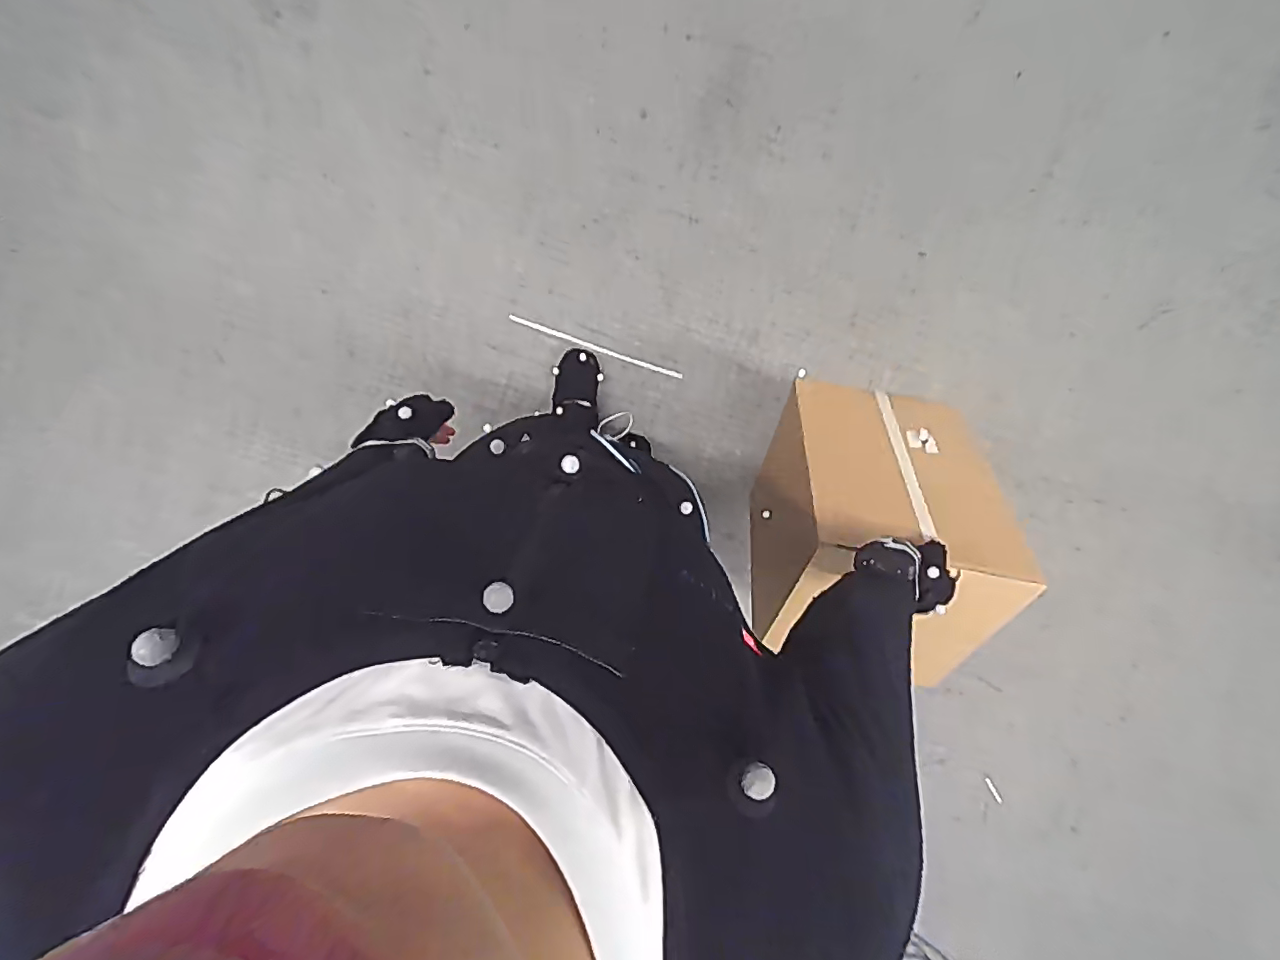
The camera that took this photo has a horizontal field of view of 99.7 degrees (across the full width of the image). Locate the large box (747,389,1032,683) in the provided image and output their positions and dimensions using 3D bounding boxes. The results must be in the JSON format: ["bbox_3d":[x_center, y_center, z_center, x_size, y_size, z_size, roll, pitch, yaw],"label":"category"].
[{"bbox_3d":[0.387,0.094,0.977,0.320,0.408,0.320,12,133,-1],"label":"large box"}]
